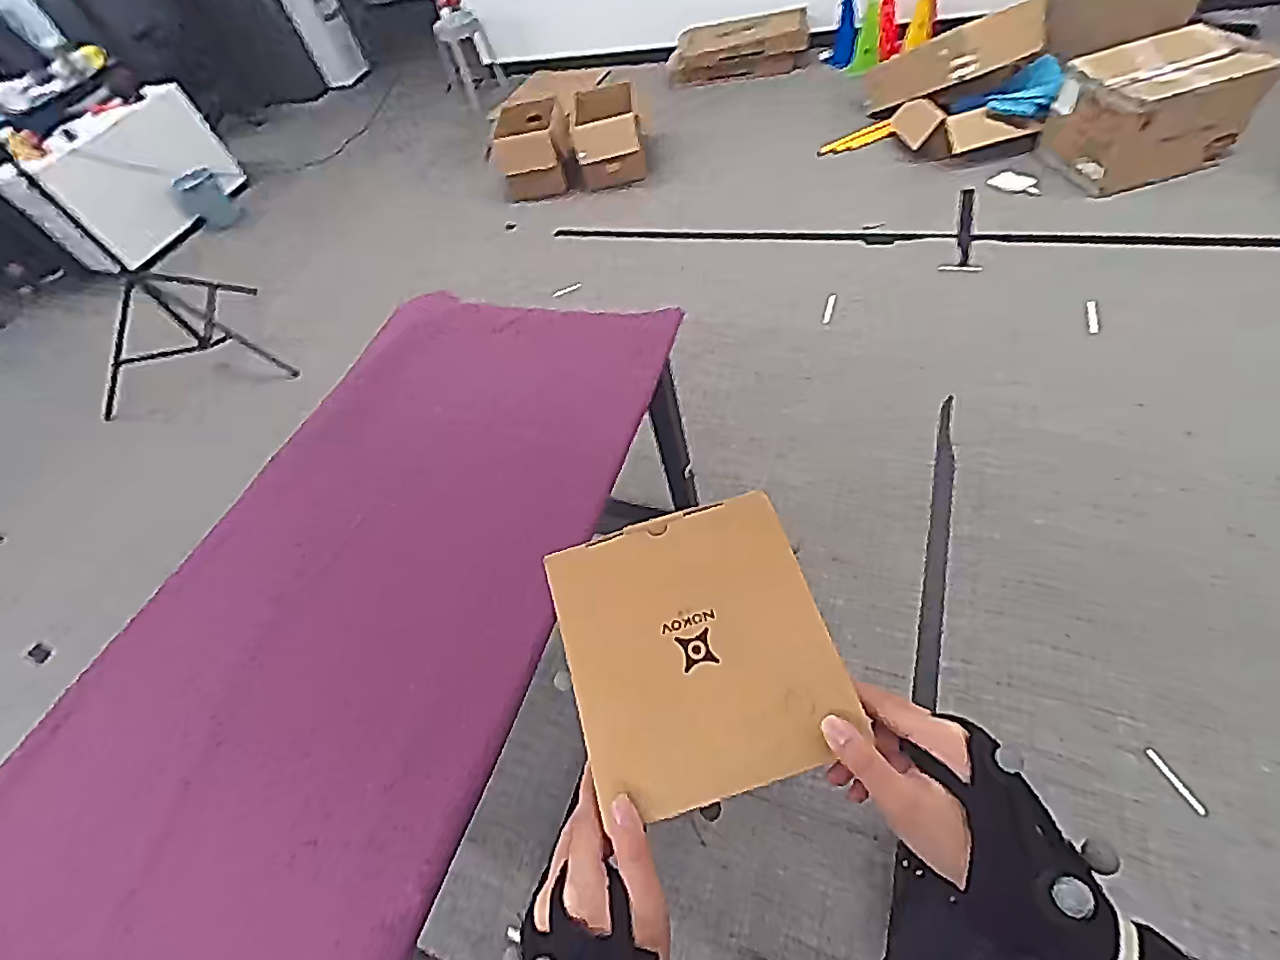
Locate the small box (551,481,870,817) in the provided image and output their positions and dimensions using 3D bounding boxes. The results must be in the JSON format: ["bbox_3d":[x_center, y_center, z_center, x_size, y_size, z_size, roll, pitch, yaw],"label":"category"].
[{"bbox_3d":[0.046,0.131,0.420,0.168,0.176,0.179,-17,62,-2],"label":"small box"}]
